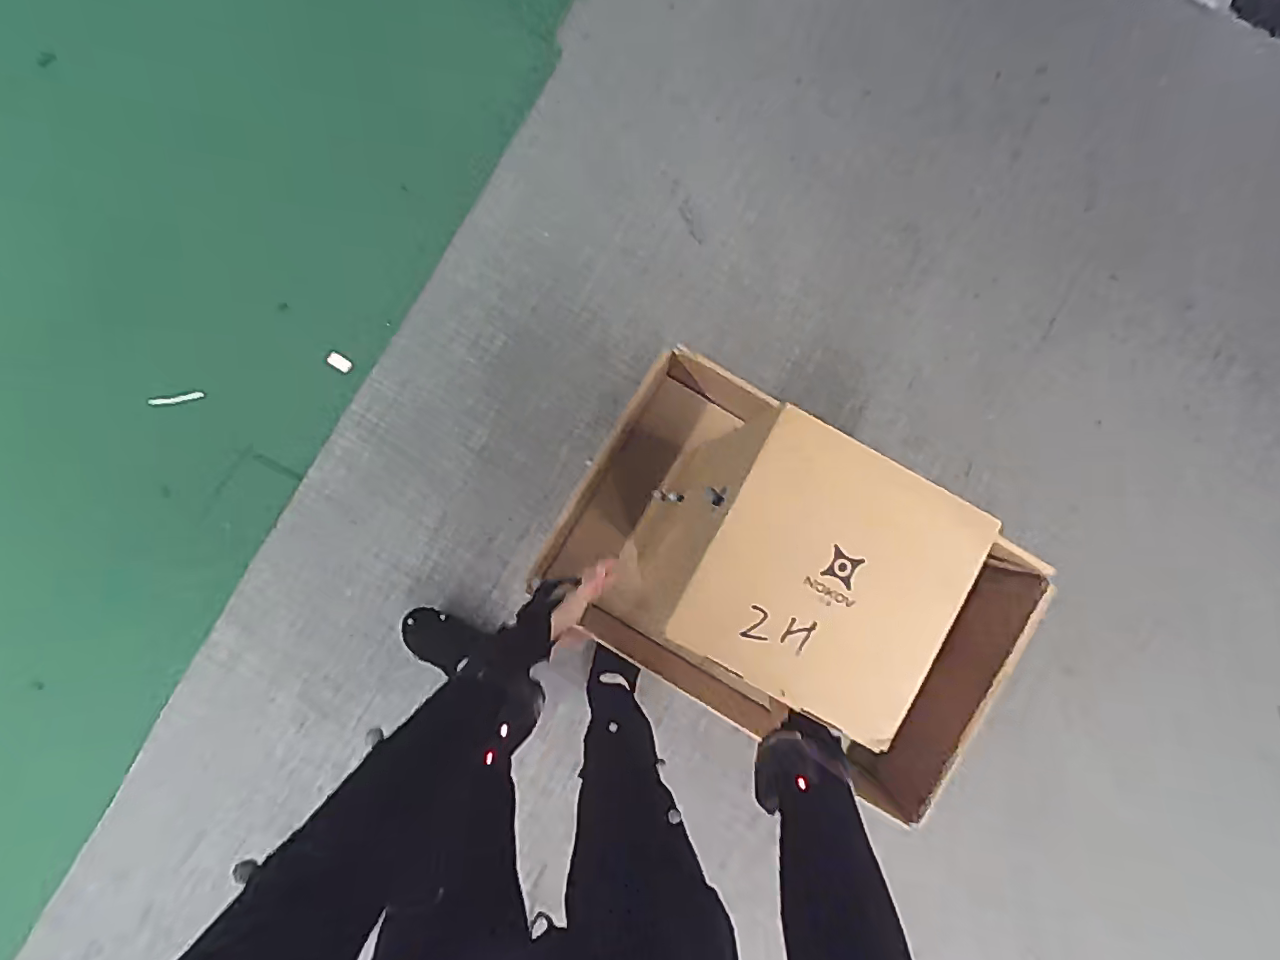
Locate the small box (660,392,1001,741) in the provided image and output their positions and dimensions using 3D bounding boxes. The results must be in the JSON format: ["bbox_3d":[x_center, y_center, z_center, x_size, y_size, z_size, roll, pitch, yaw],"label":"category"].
[{"bbox_3d":[0.125,0.057,0.430,0.168,0.176,0.179,29,88,0],"label":"small box"}]

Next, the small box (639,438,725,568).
[{"bbox_3d":[0.111,0.060,0.759,0.168,0.176,0.179,30,89,-2],"label":"small box"}]
